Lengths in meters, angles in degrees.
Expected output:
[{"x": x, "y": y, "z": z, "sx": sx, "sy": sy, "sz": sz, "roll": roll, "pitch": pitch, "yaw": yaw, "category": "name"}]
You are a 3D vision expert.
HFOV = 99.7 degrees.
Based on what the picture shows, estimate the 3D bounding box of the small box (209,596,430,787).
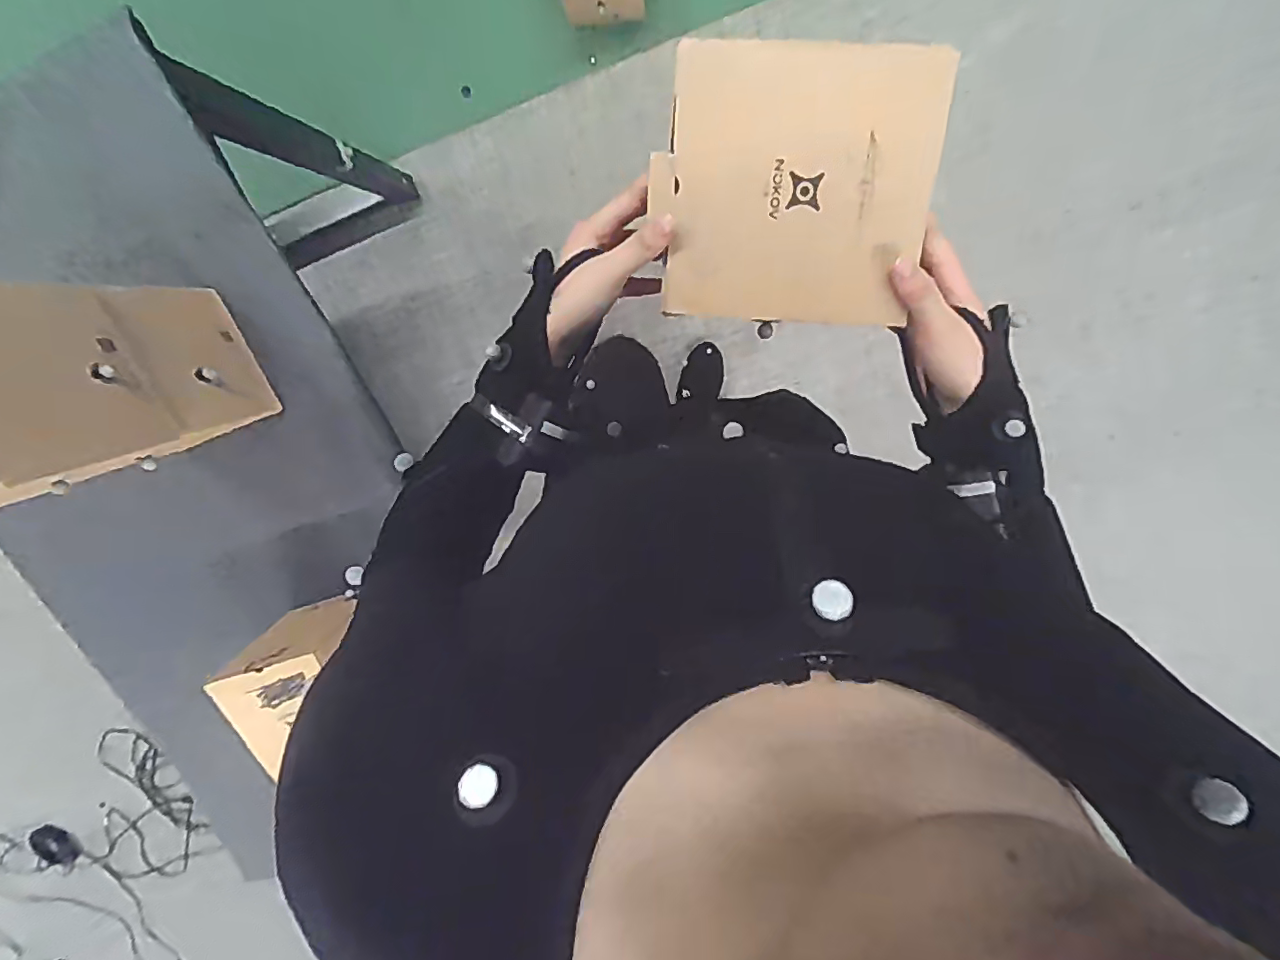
[{"x": -0.432, "y": 0.283, "z": 0.761, "sx": 0.168, "sy": 0.176, "sz": 0.179, "roll": -18, "pitch": 108, "yaw": 9, "category": "small box"}]

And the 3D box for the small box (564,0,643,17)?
[{"x": -0.080, "y": -1.054, "z": 1.066, "sx": 0.168, "sy": 0.176, "sz": 0.179, "roll": -3, "pitch": 108, "yaw": 2, "category": "small box"}]

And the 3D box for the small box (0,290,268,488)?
[{"x": -0.583, "y": -0.115, "z": 0.631, "sx": 0.179, "sy": 0.176, "sz": 0.168, "roll": -18, "pitch": 107, "yaw": 9, "category": "small box"}]
